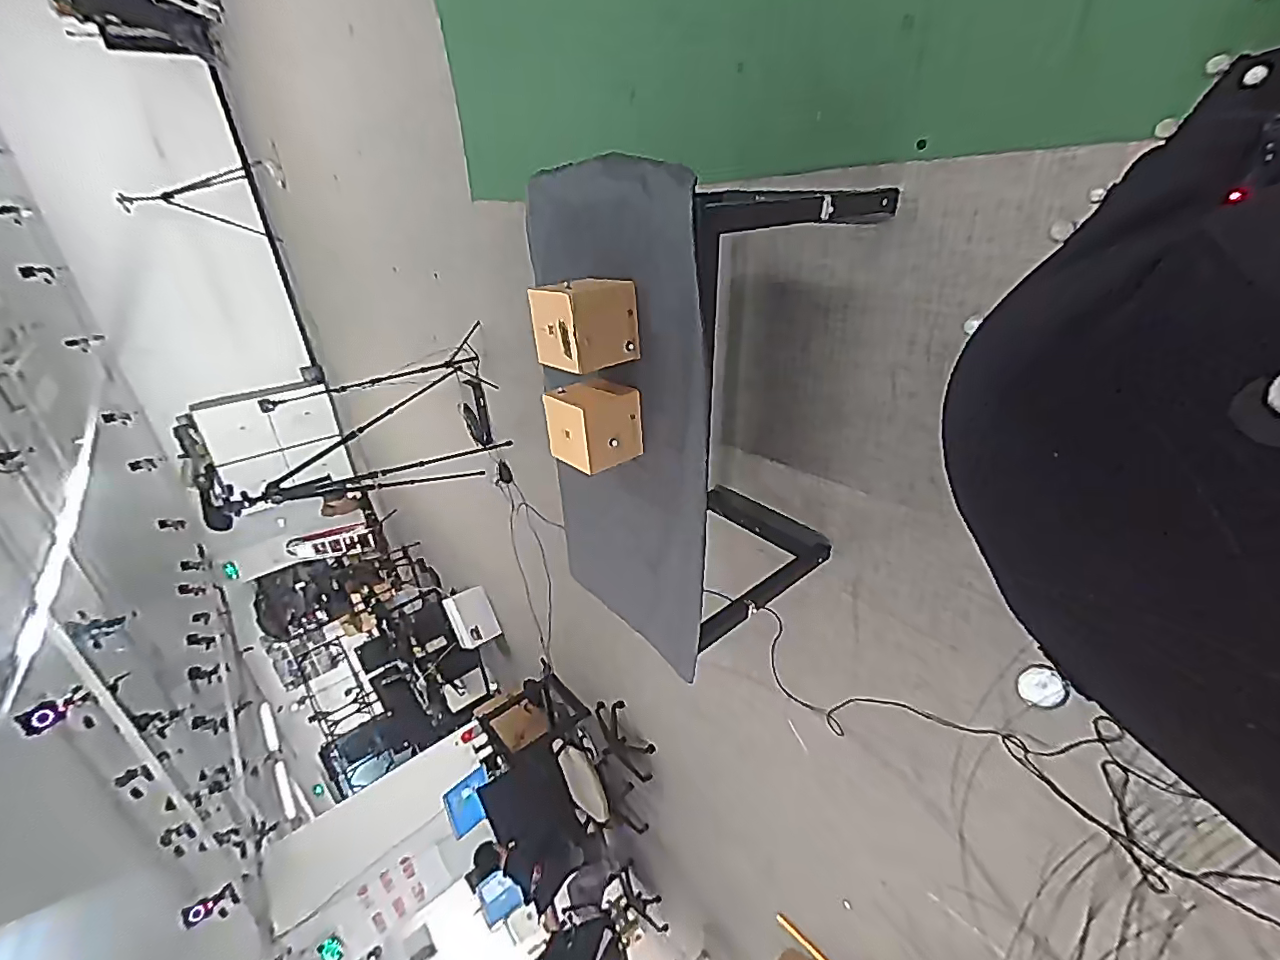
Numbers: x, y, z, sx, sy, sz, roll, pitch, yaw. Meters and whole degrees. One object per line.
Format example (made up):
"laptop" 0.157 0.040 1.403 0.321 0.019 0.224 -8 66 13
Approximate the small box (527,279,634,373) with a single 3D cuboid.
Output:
"small box" -0.124 -0.349 1.199 0.179 0.176 0.168 26 130 46

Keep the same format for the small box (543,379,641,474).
"small box" -0.110 -0.139 1.315 0.179 0.176 0.168 26 130 45
